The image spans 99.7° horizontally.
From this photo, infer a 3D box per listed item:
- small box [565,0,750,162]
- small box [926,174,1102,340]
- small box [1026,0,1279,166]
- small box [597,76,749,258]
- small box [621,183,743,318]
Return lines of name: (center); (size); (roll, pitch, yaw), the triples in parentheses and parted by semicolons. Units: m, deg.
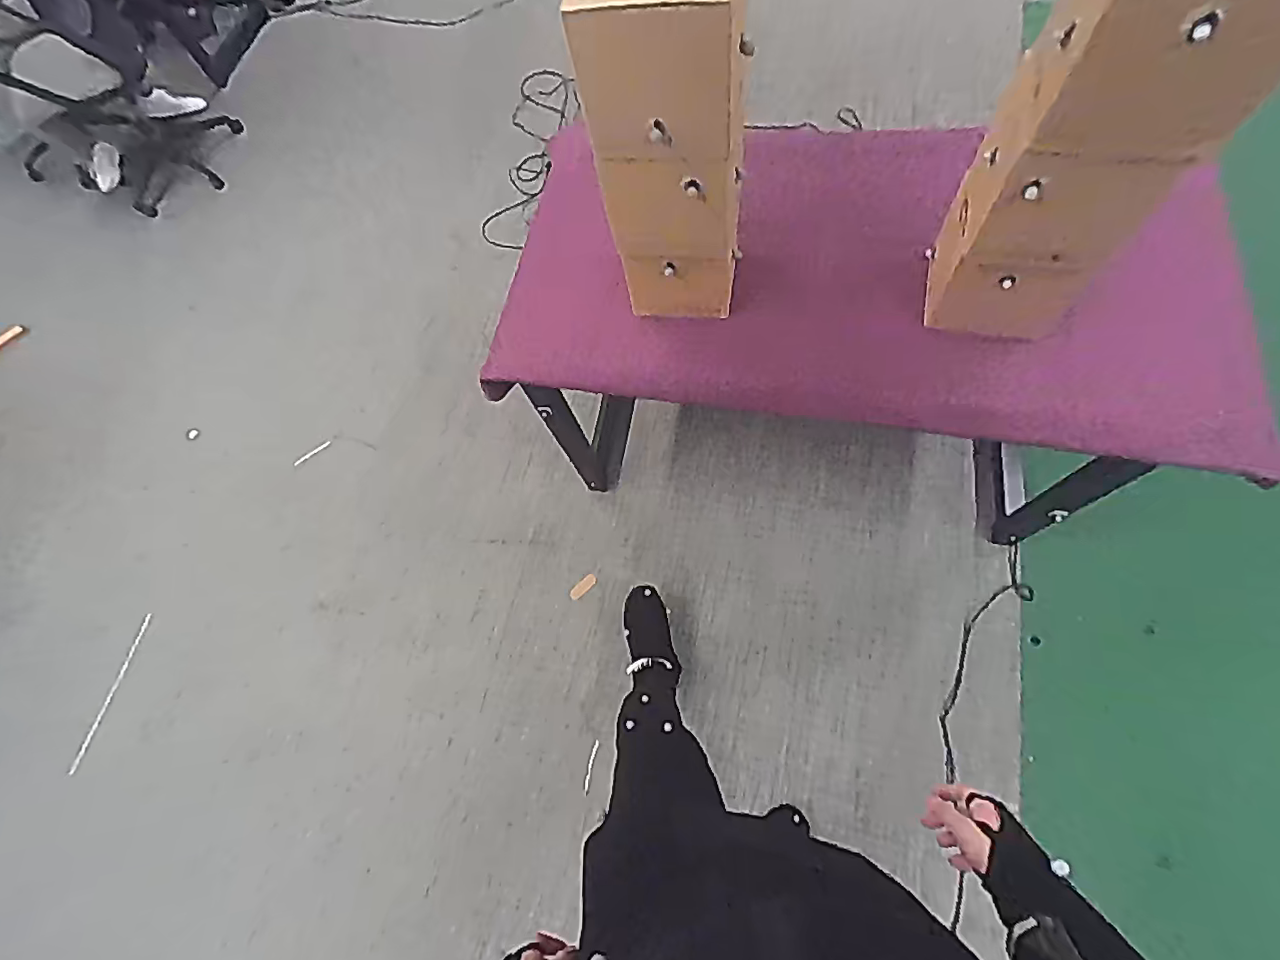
small box: (0.033, -0.501, 0.629); (0.179, 0.176, 0.168); (8, 70, 11)
small box: (0.563, -0.338, 0.837); (0.179, 0.176, 0.168); (11, 71, 12)
small box: (0.515, -0.440, 0.529); (0.179, 0.176, 0.168); (13, 72, 13)
small box: (0.055, -0.445, 0.781); (0.179, 0.176, 0.168); (8, 70, 12)
small box: (0.079, -0.399, 0.938); (0.179, 0.176, 0.168); (6, 70, 12)
